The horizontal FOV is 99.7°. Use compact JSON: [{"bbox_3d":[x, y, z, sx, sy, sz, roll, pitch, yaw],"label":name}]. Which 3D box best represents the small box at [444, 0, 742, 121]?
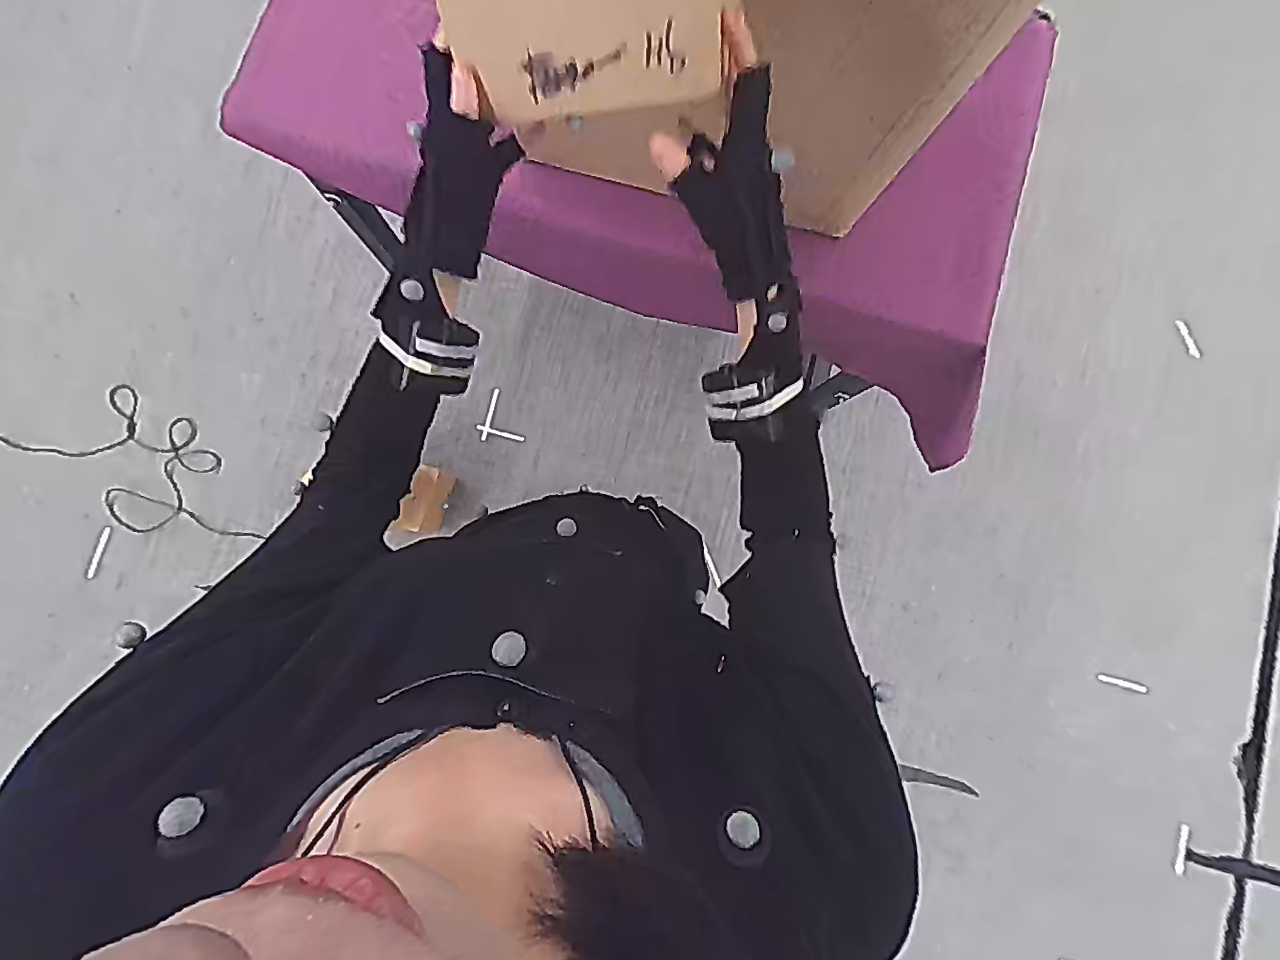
[{"bbox_3d":[-0.024,-0.354,0.344,0.168,0.179,0.176,3,44,15],"label":"small box"}]

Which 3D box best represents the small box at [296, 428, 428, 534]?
[{"bbox_3d":[-0.623,0.007,1.239,0.179,0.176,0.168,37,83,0],"label":"small box"}]

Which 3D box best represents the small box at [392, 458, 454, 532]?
[{"bbox_3d":[-0.608,0.035,1.402,0.179,0.176,0.168,18,84,-3],"label":"small box"}]
